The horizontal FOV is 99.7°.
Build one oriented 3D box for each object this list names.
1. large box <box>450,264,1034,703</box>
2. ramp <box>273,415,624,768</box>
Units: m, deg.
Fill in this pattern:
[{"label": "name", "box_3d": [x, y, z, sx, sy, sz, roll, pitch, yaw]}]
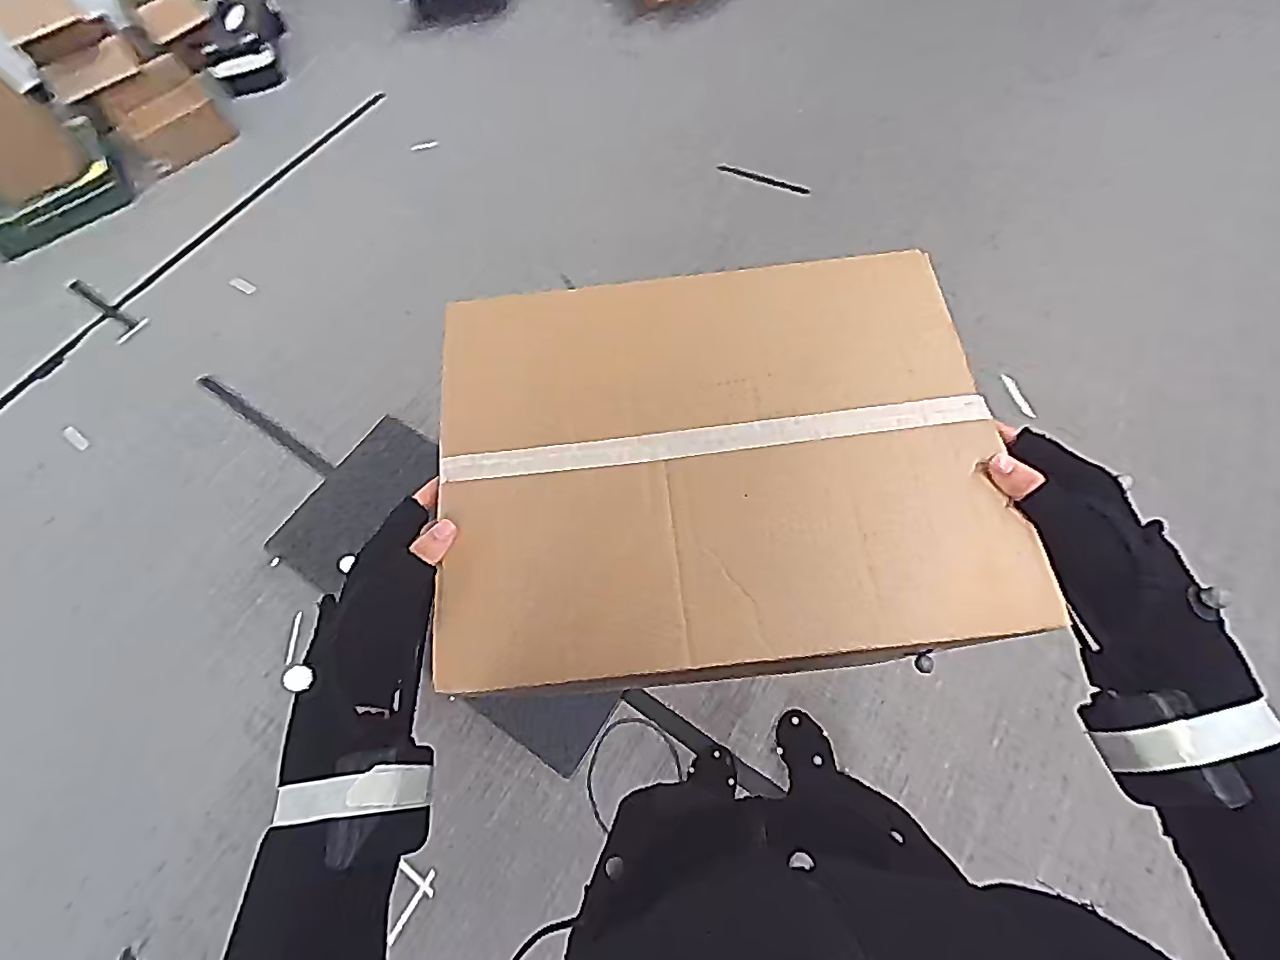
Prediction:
[{"label": "large box", "box_3d": [0.061, 0.034, 0.553, 0.408, 0.320, 0.320, -8, 67, 1]}, {"label": "ramp", "box_3d": [-0.446, 0.252, 1.457, 0.991, 0.206, 0.509, 28, 70, 18]}]
